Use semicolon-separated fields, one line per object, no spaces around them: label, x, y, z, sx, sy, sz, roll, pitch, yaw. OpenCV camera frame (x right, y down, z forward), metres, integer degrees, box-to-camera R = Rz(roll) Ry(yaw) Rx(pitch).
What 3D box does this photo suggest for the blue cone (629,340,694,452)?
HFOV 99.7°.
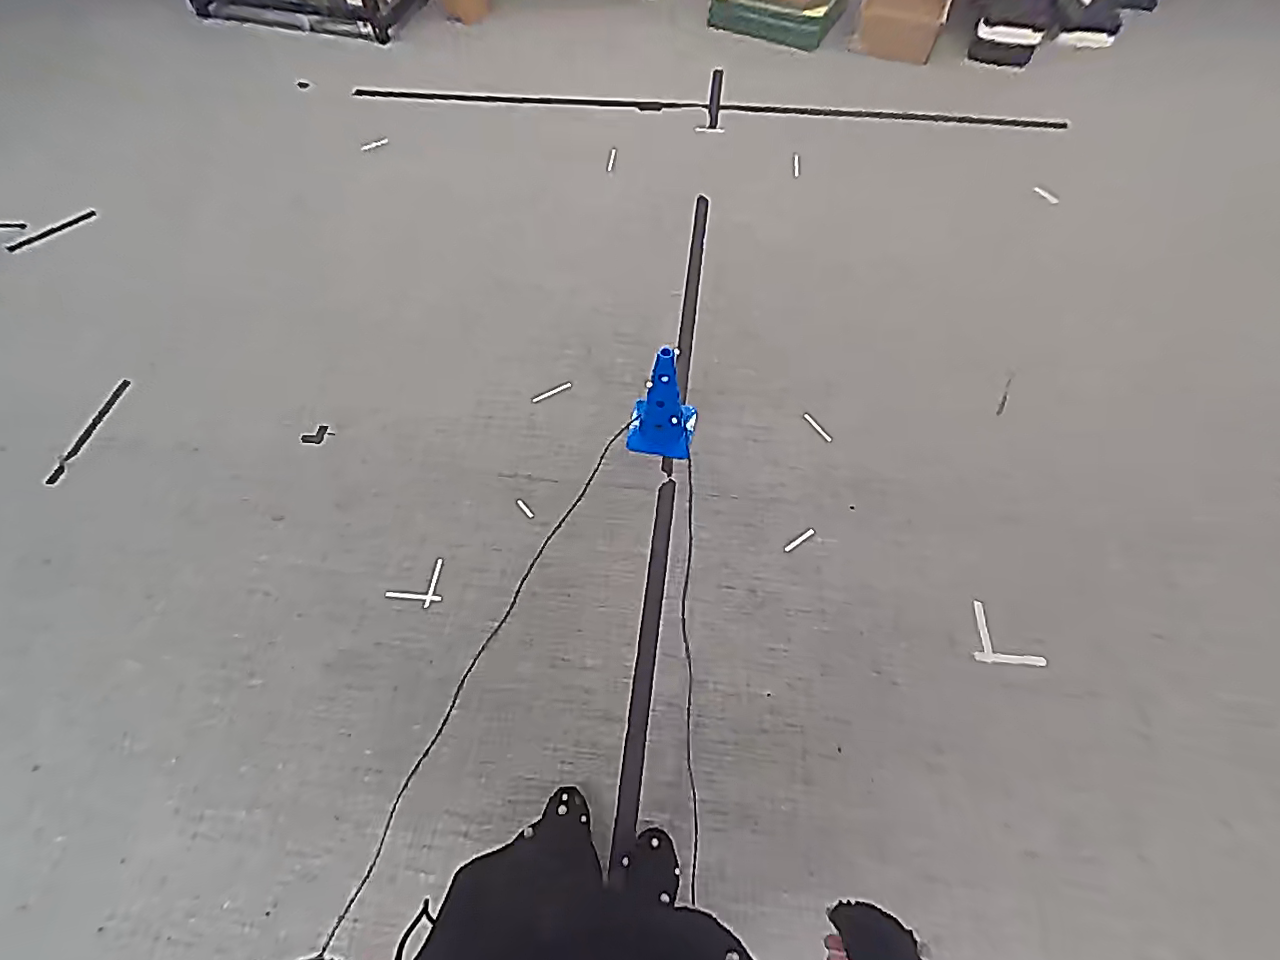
blue cone;0.064;-0.249;1.535;0.193;0.380;0.192;8;63;6
